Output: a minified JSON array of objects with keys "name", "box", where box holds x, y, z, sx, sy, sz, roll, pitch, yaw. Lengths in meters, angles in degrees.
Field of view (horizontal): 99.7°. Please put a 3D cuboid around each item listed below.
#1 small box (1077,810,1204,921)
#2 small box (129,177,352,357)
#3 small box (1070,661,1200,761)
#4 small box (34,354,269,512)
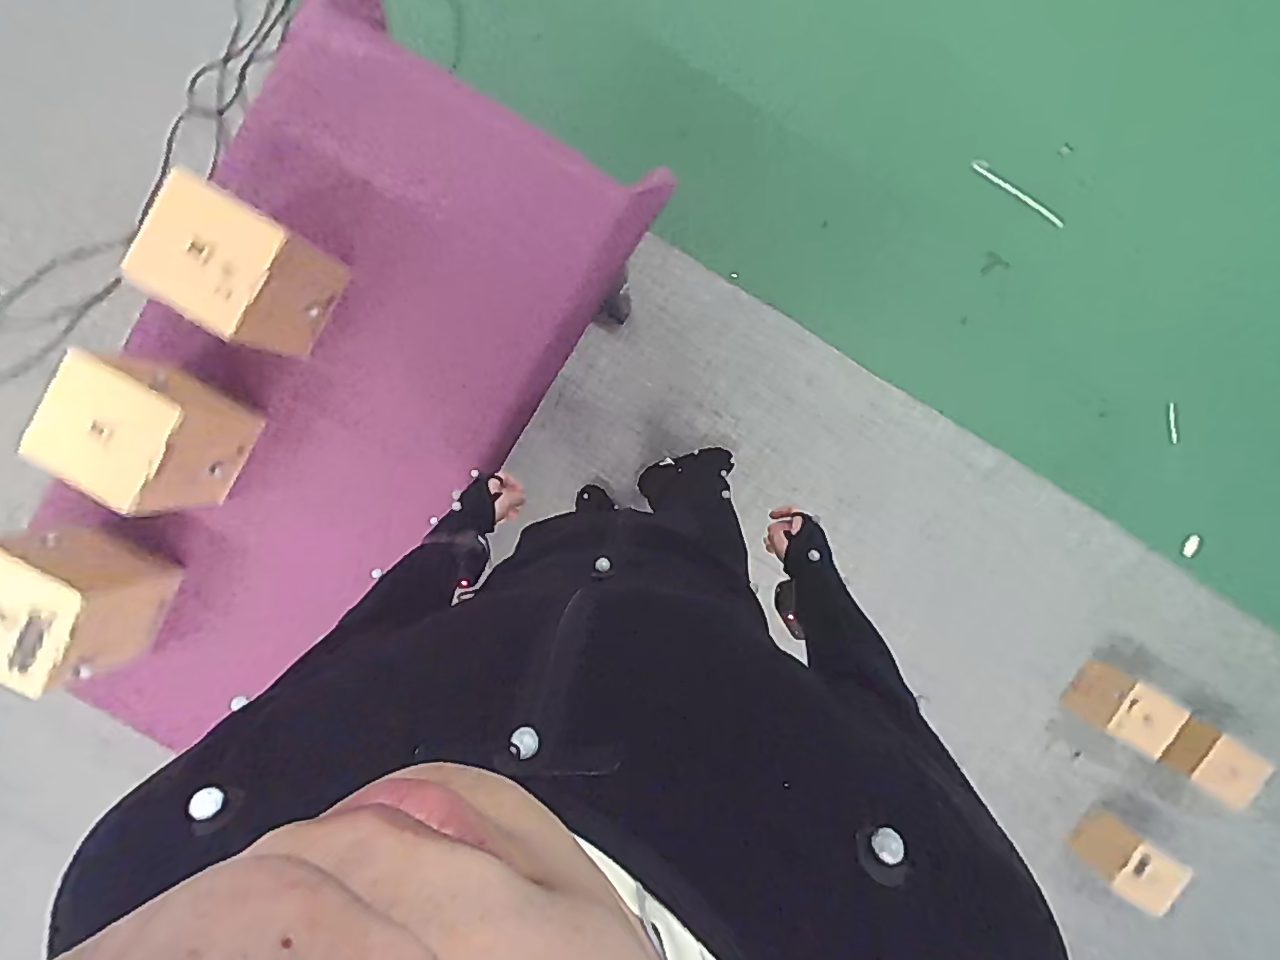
[{"name":"small box","box":[1.438,1.102,1.567,0.179,0.176,0.168,34,93,-1]},{"name":"small box","box":[-0.587,-0.305,0.819,0.179,0.176,0.168,31,94,-1]},{"name":"small box","box":[1.402,0.650,1.544,0.179,0.176,0.168,32,93,-2]},{"name":"small box","box":[-0.738,-0.068,0.837,0.179,0.176,0.168,30,93,-1]}]
